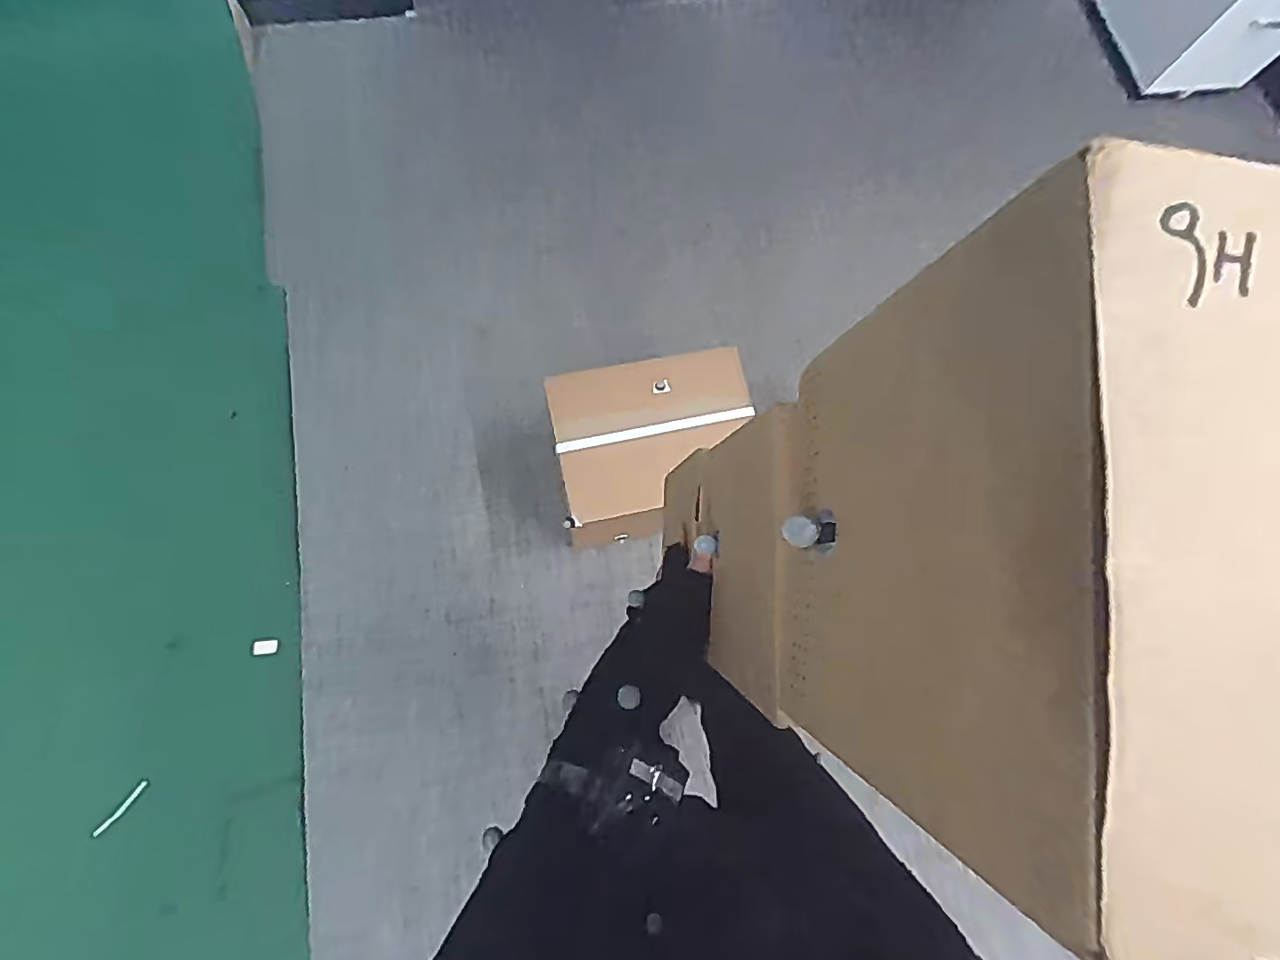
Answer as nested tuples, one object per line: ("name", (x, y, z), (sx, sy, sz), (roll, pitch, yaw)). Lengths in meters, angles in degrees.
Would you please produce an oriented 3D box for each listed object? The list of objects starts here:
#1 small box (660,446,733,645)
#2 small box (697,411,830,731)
("small box", (0.118, 0.066, 0.528), (0.179, 0.176, 0.168), (3, 83, -7))
("small box", (0.145, 0.052, 0.366), (0.179, 0.176, 0.168), (-1, 84, -7))
